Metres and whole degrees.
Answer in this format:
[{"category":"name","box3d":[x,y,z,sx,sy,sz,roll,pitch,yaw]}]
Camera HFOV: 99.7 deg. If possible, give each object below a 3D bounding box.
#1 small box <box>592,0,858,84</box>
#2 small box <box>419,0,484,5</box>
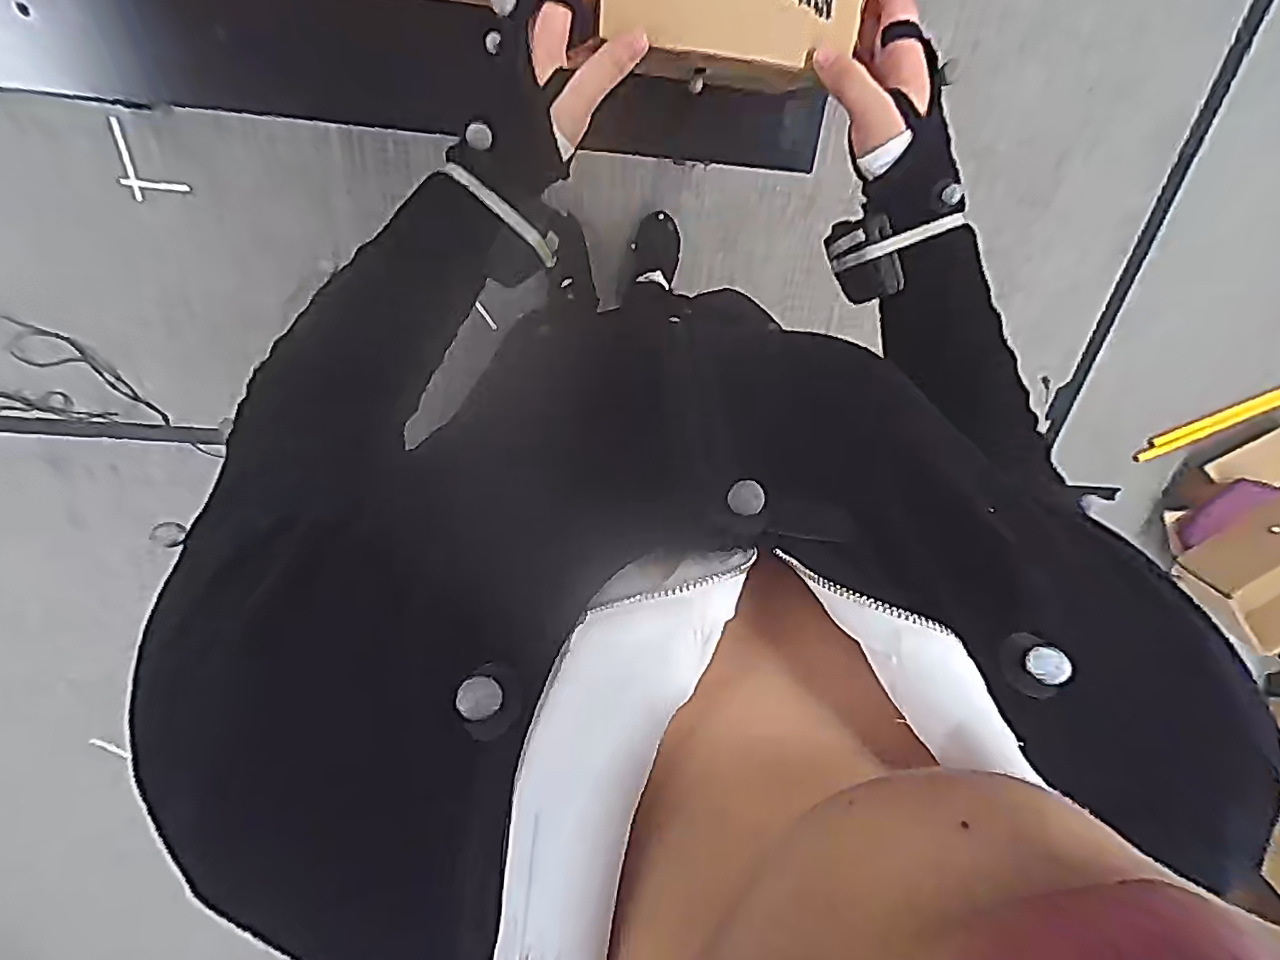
[{"category":"small box","box3d":[0.058,-0.402,0.391,0.179,0.176,0.168,3,122,-7]},{"category":"small box","box3d":[-0.202,-0.495,0.408,0.179,0.176,0.168,3,117,-6]}]
